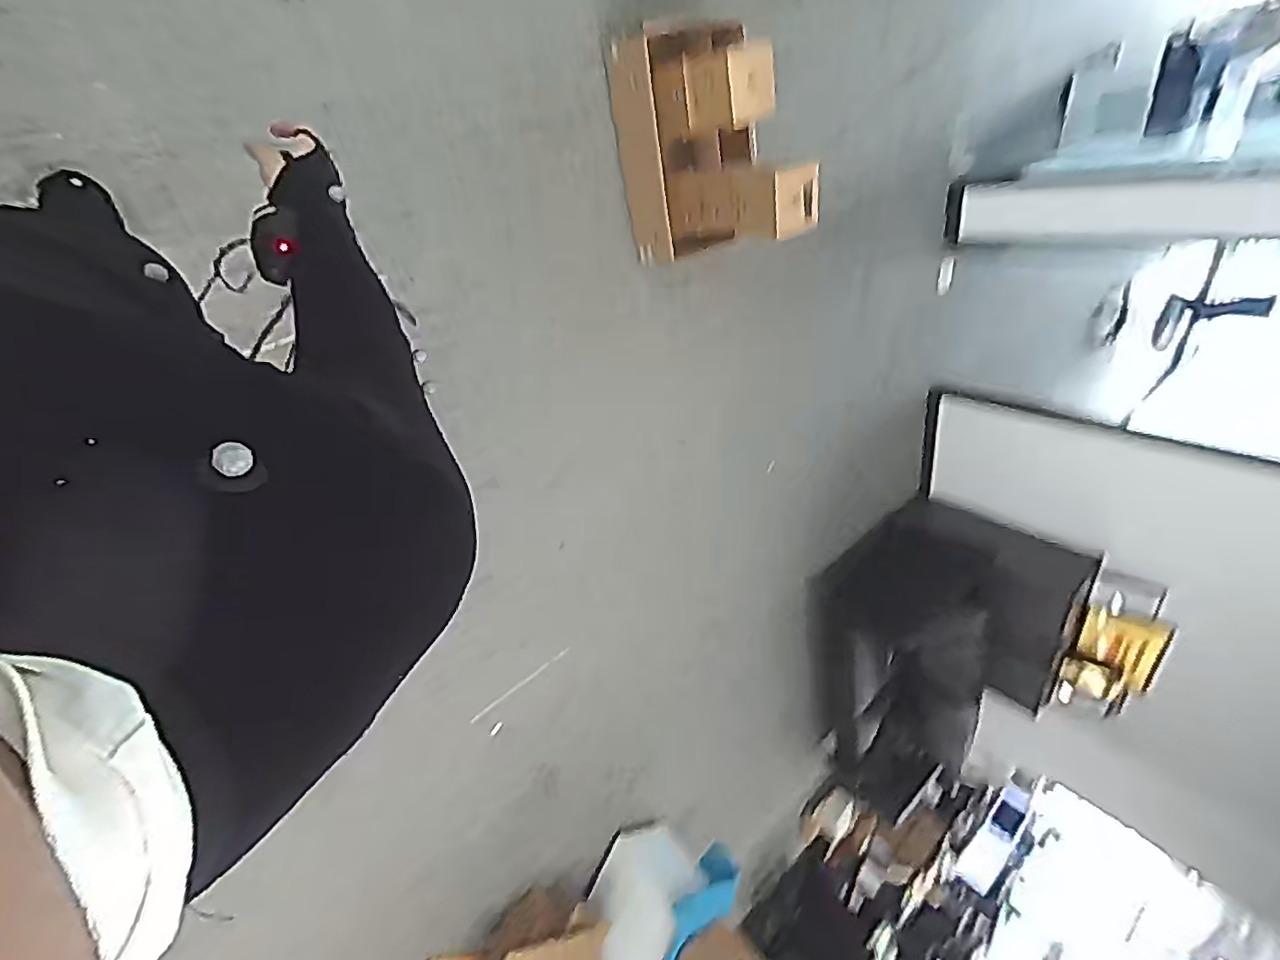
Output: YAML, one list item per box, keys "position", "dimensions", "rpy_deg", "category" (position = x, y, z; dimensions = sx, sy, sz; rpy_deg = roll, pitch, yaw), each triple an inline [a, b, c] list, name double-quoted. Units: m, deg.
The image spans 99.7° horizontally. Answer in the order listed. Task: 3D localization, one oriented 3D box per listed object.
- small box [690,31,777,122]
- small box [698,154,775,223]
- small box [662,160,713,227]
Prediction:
- position: [0.254, -1.115, 1.503]
  dimensions: [0.179, 0.176, 0.168]
  rpy_deg: [-33, 129, -23]
  category: "small box"
- position: [0.289, -0.883, 1.644]
  dimensions: [0.179, 0.176, 0.168]
  rpy_deg: [-27, 126, -28]
  category: "small box"
- position: [0.190, -0.935, 1.762]
  dimensions: [0.168, 0.176, 0.179]
  rpy_deg: [-27, 125, -28]
  category: "small box"
